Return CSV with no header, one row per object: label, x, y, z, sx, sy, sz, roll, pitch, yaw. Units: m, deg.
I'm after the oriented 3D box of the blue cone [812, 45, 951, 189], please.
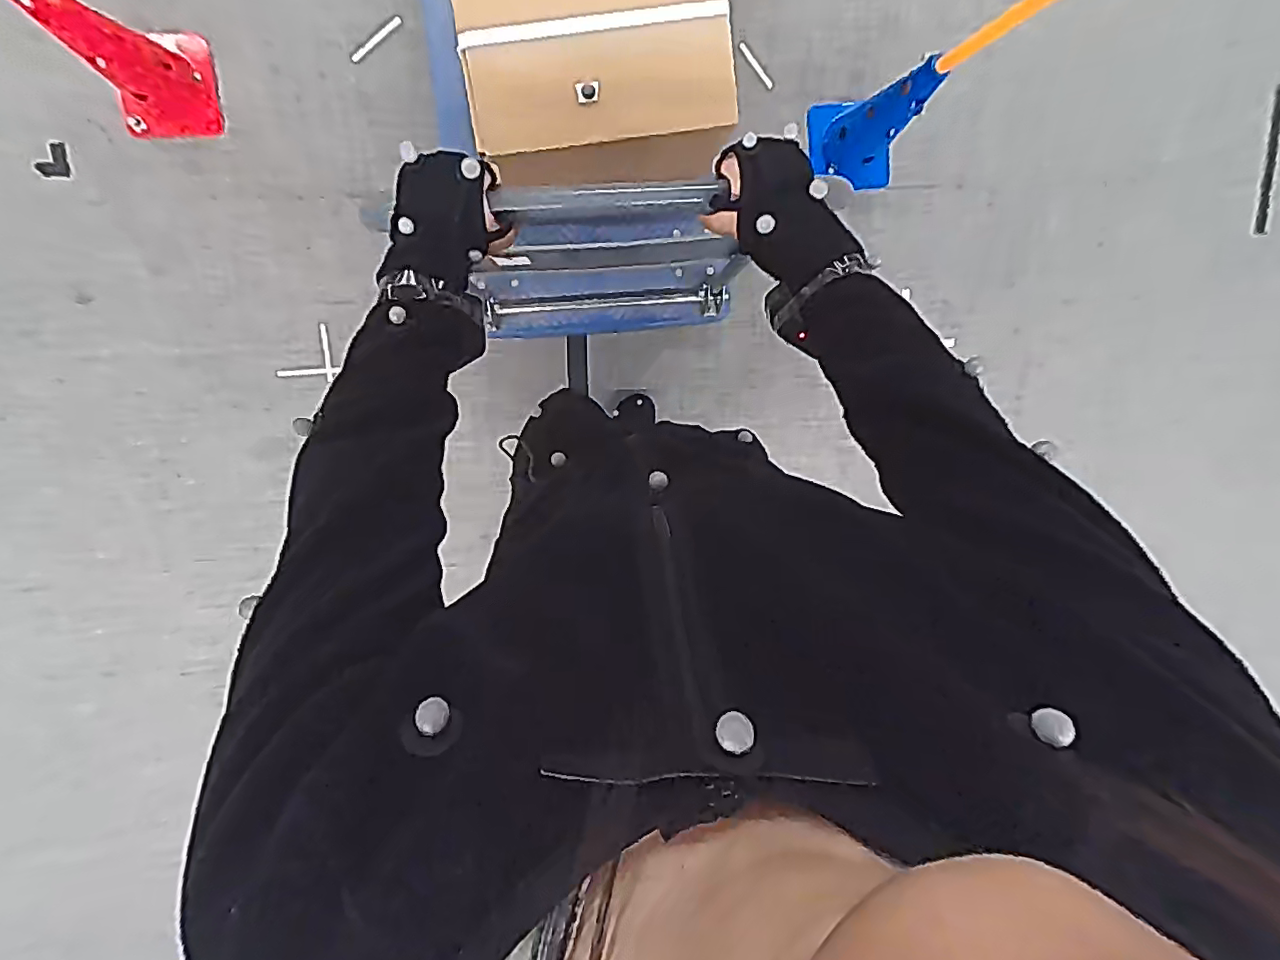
blue cone,0.532,-0.790,1.161,0.193,0.380,0.192,-7,100,-4
